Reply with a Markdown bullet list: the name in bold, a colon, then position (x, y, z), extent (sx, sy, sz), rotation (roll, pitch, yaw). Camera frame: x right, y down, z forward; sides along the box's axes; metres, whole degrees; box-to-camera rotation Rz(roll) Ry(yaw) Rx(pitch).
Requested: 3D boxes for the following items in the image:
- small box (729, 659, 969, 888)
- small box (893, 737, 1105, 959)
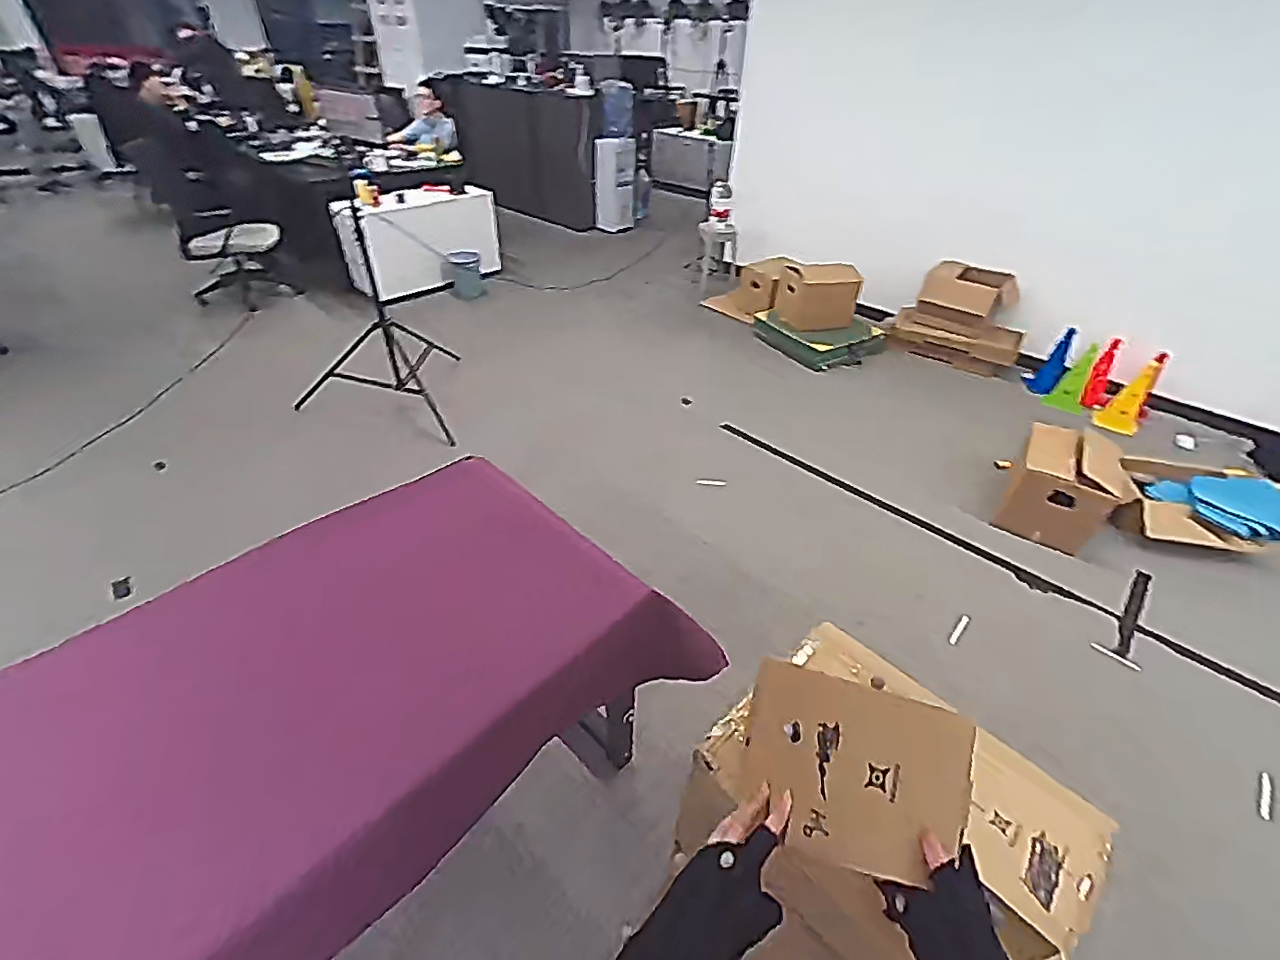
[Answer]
- **small box**: position (0.221, 0.306, 0.602), extent (0.179, 0.176, 0.168), rotation (17, 74, -5)
- **small box**: position (0.458, 0.498, 0.725), extent (0.168, 0.176, 0.179), rotation (-29, 47, -32)
